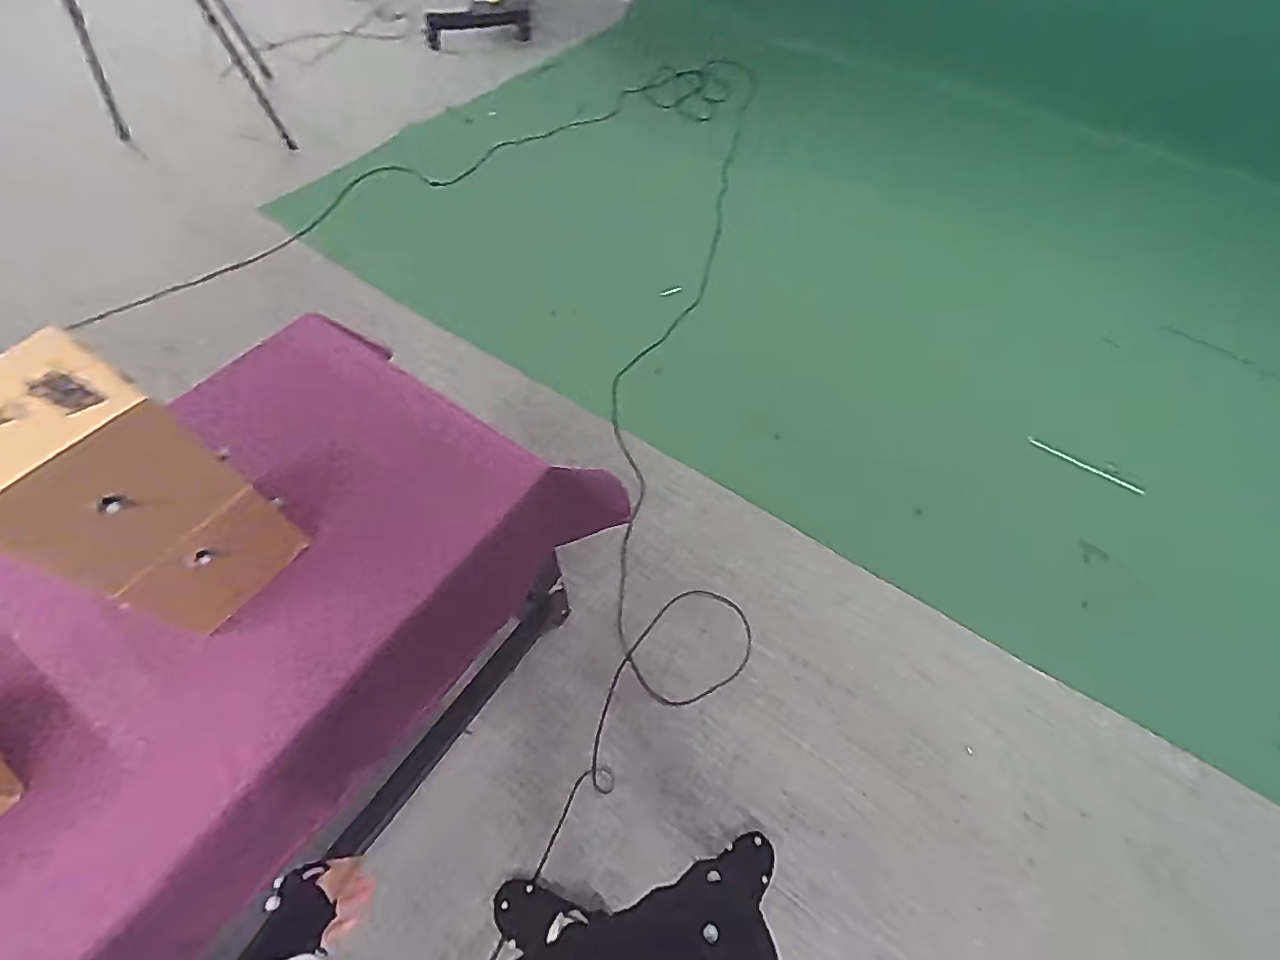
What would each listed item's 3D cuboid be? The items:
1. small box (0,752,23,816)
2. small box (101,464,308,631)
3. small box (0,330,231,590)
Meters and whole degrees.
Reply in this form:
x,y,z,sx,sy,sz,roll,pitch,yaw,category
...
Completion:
x,y,z,sx,sy,sz,roll,pitch,yaw,category
-0.819,0.340,0.542,0.168,0.176,0.179,29,61,16,small box
-0.592,0.070,0.714,0.168,0.176,0.179,31,62,16,small box
-0.588,-0.016,0.574,0.168,0.176,0.179,31,63,15,small box
